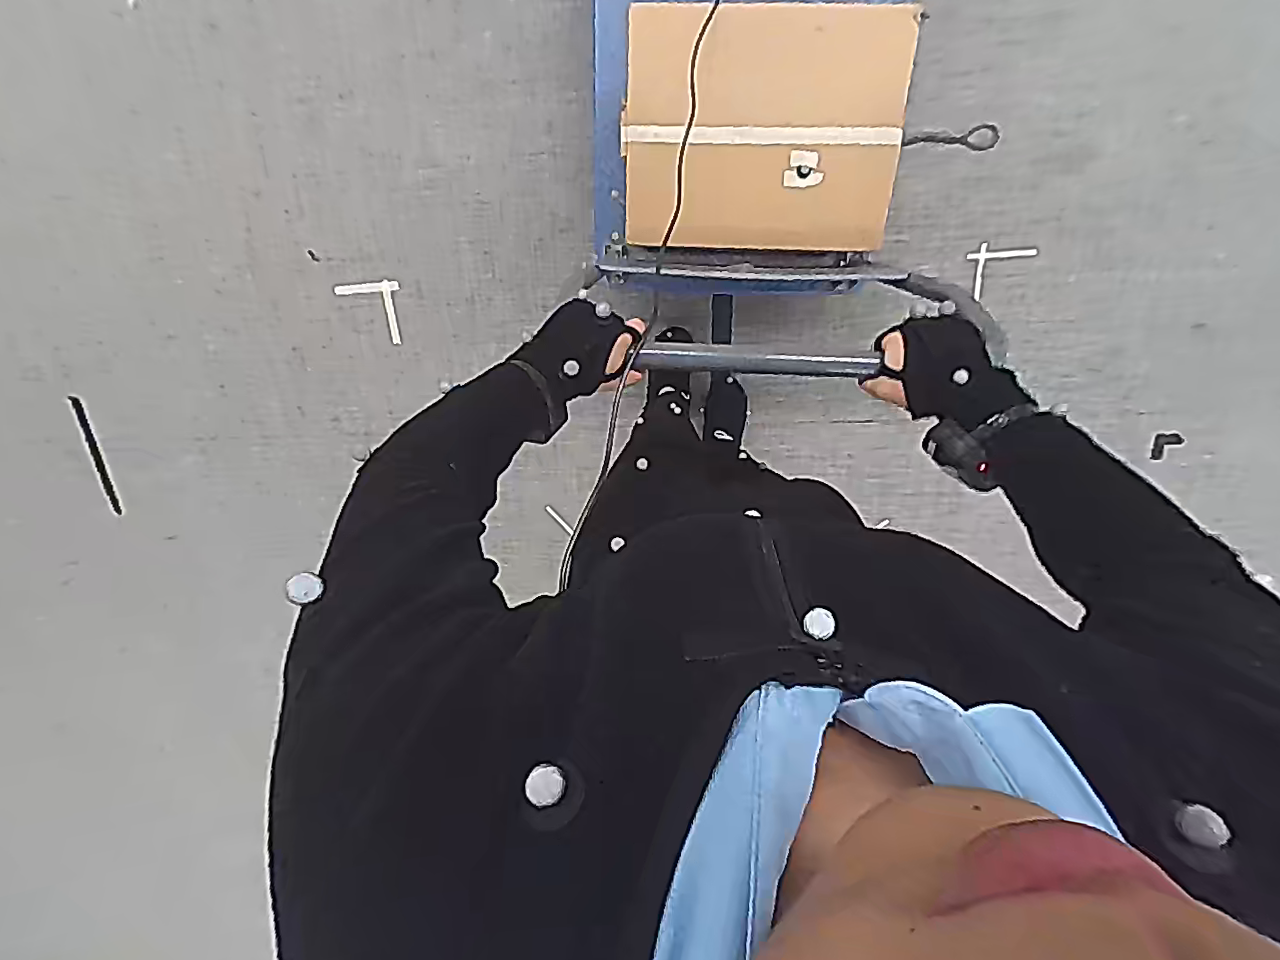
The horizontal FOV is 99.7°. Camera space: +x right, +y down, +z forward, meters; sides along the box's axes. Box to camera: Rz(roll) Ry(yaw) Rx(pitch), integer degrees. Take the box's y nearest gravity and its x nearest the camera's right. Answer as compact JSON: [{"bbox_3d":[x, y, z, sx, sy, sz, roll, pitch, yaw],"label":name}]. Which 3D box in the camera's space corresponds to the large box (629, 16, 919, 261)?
[{"bbox_3d":[0.190,-0.555,0.942,0.408,0.320,0.320,3,114,2],"label":"large box"}]
